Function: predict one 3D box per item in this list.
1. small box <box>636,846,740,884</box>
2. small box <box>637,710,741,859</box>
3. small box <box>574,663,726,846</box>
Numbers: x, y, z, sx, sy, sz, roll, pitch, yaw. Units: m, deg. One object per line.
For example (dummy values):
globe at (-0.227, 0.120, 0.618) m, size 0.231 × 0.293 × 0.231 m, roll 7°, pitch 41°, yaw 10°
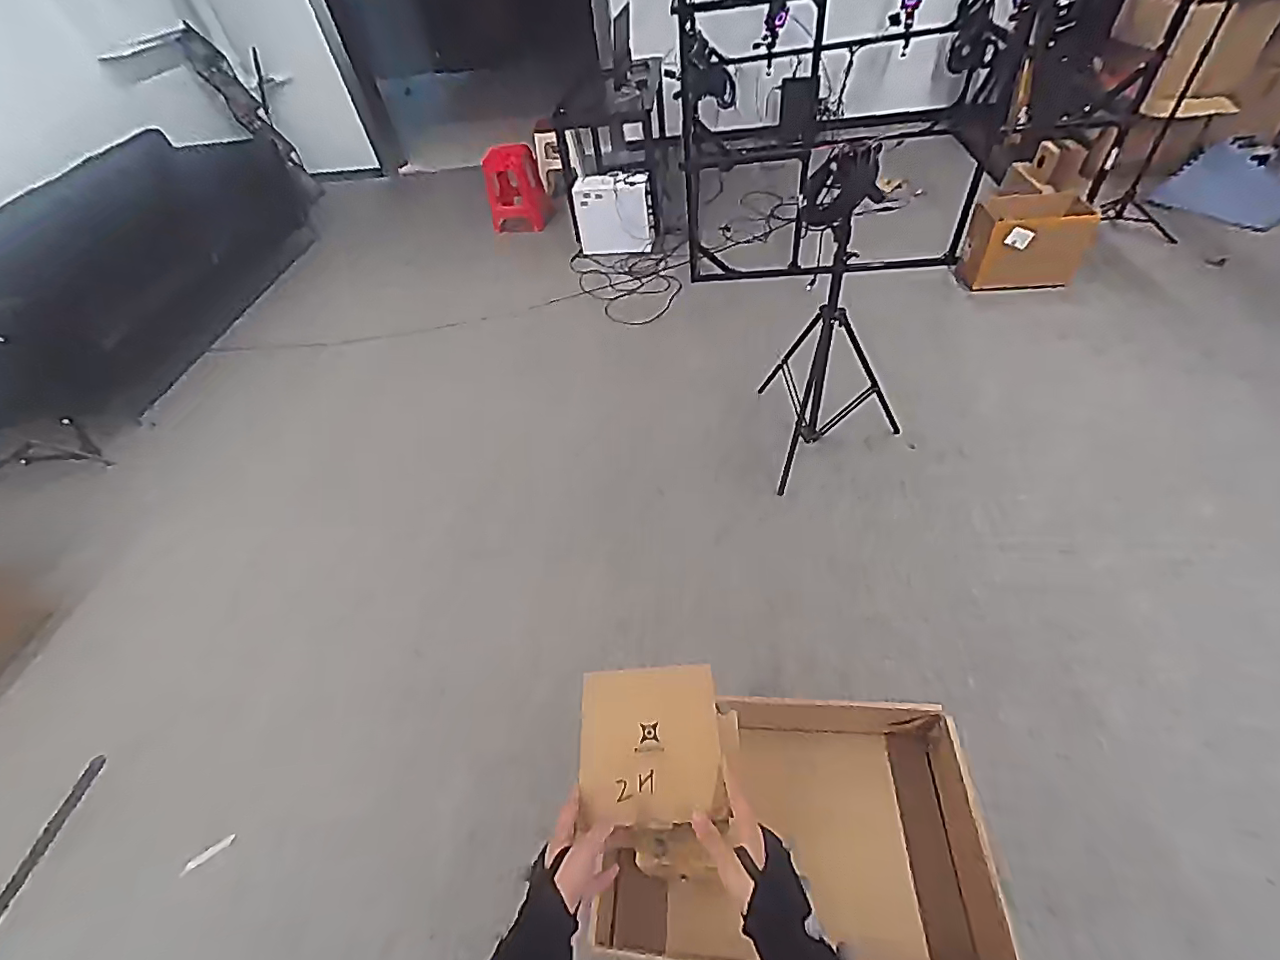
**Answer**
small box at (0.088, 0.595, 0.960) m, size 0.168 × 0.176 × 0.179 m, roll -2°, pitch 48°, yaw 8°
small box at (0.072, 0.476, 0.847) m, size 0.168 × 0.176 × 0.179 m, roll -2°, pitch 48°, yaw 8°
small box at (0.017, 0.353, 0.690) m, size 0.168 × 0.176 × 0.179 m, roll -6°, pitch 51°, yaw 5°
